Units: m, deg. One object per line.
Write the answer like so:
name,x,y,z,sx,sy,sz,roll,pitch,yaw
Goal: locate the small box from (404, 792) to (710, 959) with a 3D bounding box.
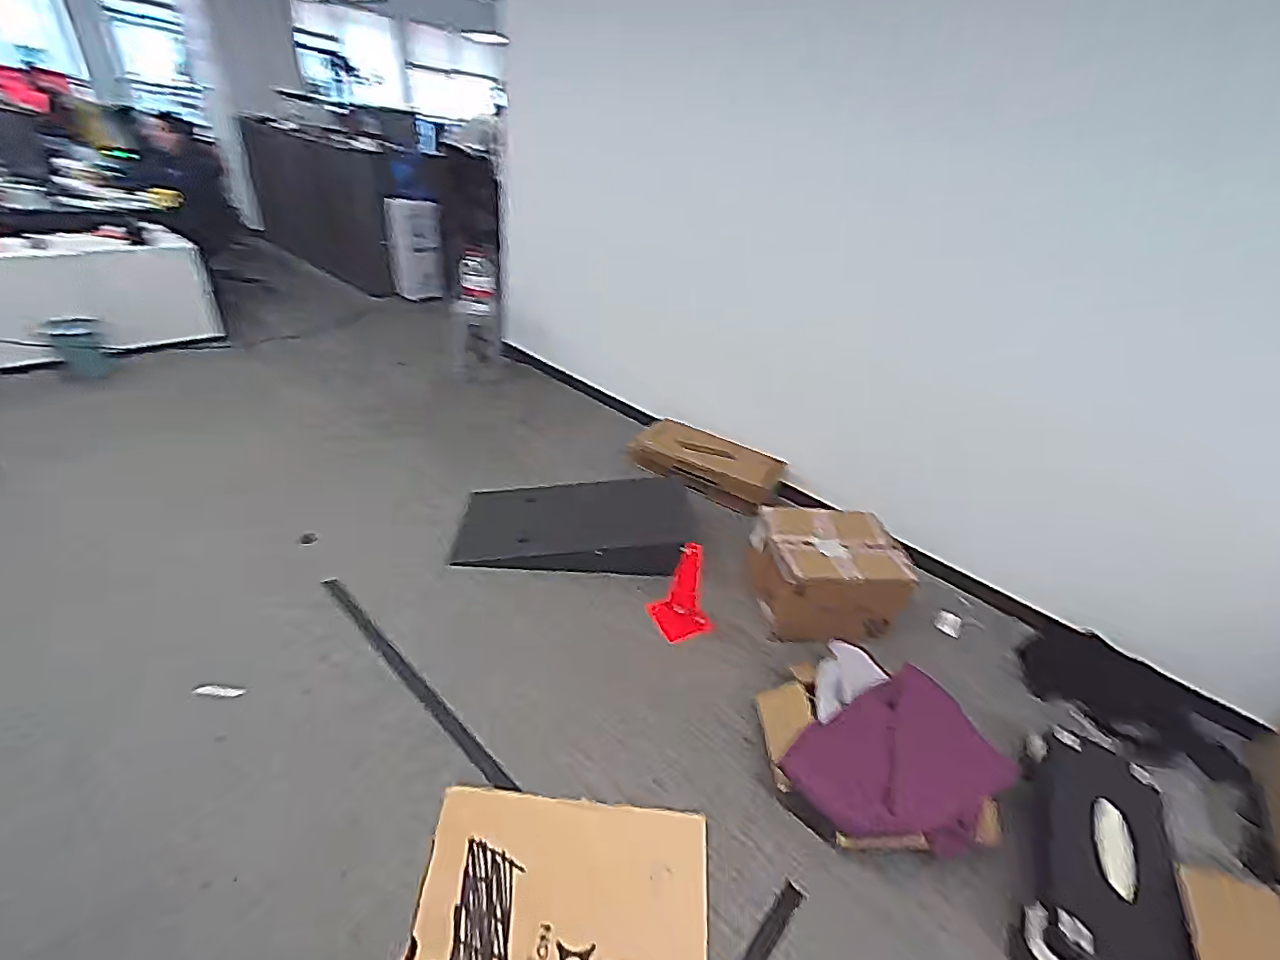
small box,-0.058,0.328,0.362,0.179,0.176,0.168,9,48,-6
